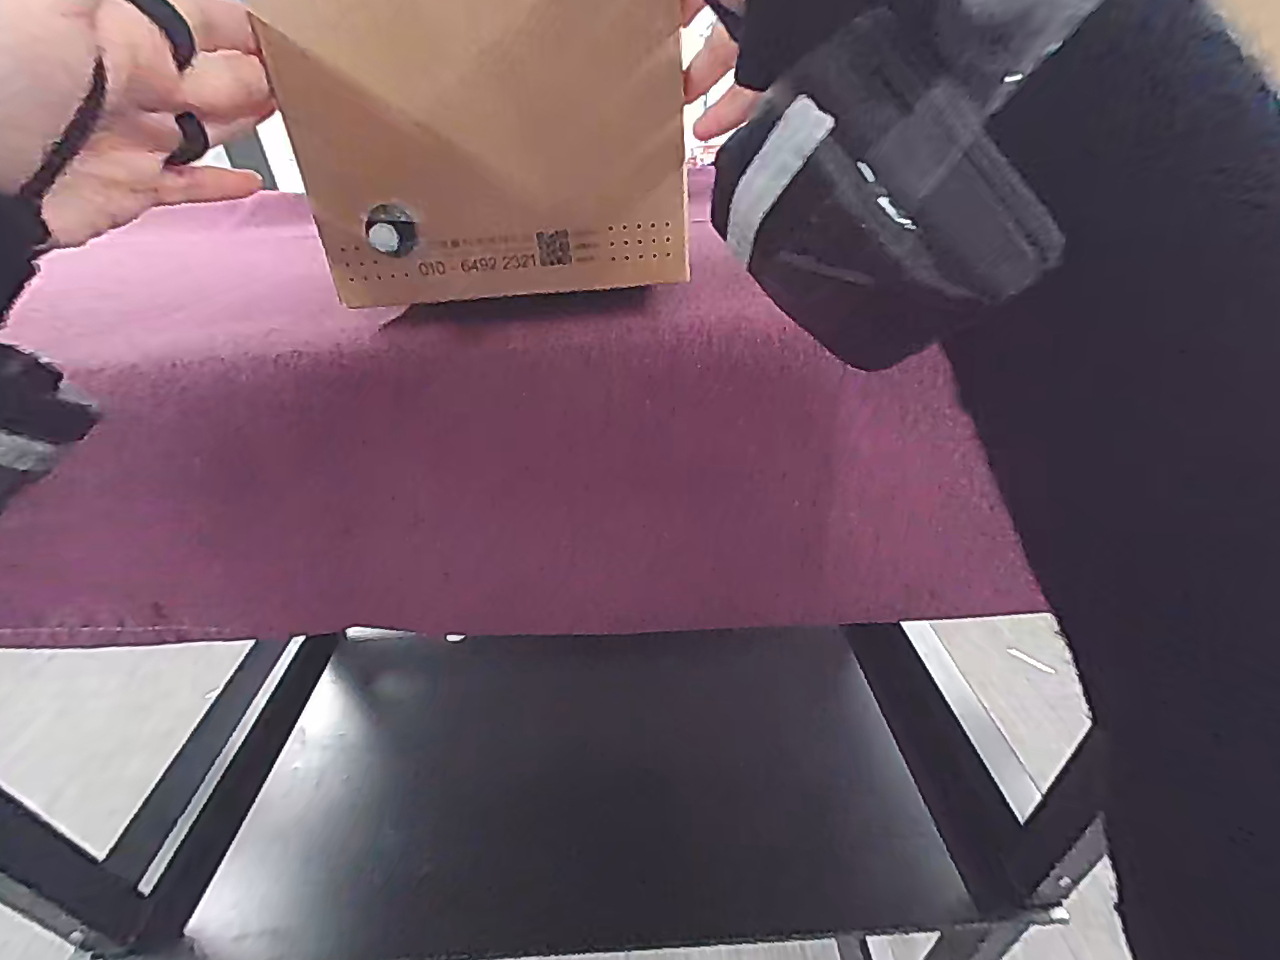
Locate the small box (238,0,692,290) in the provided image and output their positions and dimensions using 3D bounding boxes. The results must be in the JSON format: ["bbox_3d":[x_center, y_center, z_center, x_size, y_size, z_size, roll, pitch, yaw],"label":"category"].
[{"bbox_3d":[-0.065,-0.196,0.275,0.168,0.176,0.179,-4,28,0],"label":"small box"}]
